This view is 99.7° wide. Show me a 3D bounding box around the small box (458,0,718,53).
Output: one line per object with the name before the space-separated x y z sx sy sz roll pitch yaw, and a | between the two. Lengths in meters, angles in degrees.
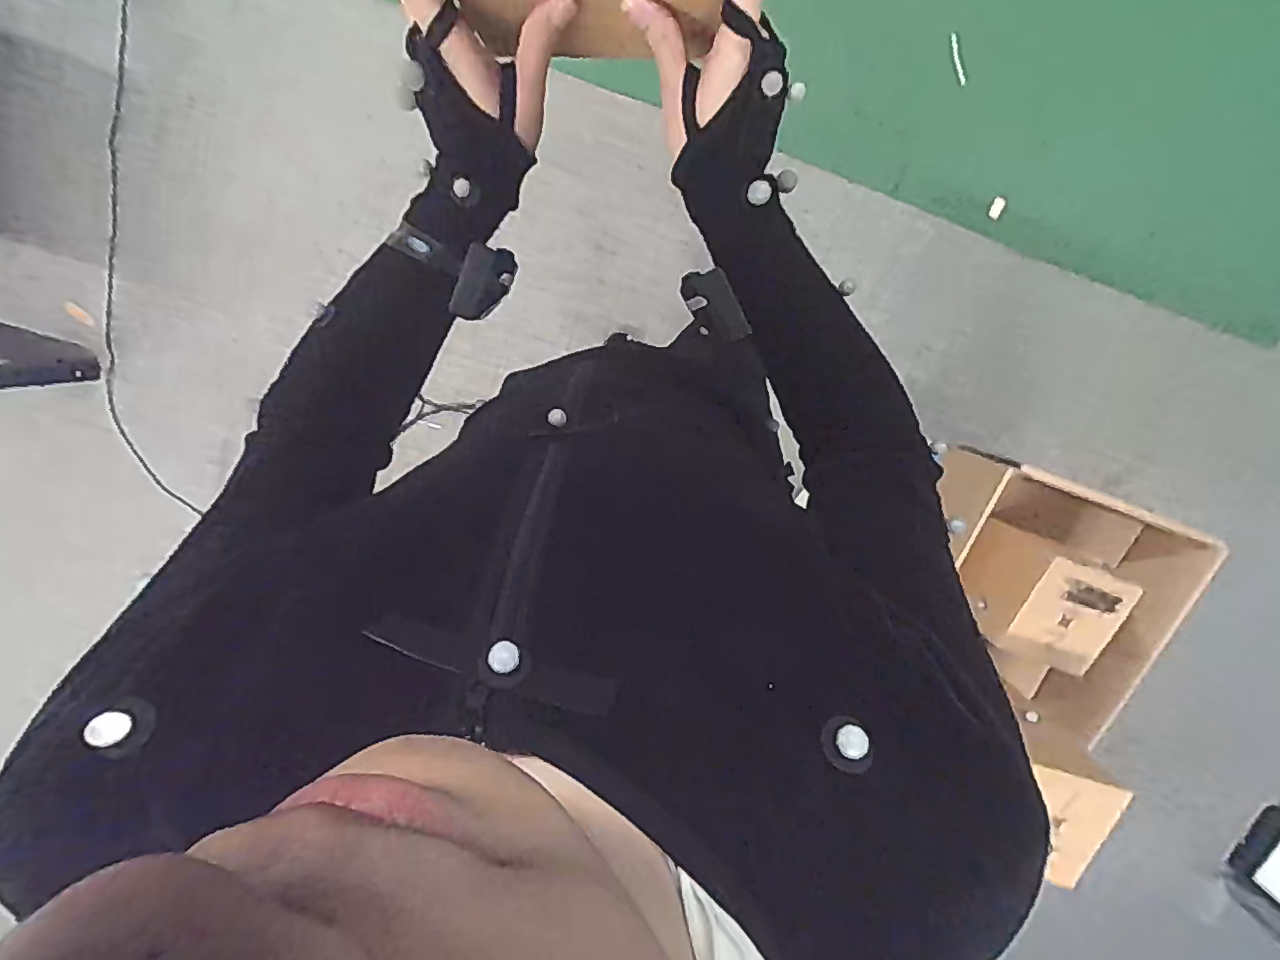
small box | -0.033 -0.371 0.297 0.179 0.176 0.168 1 104 1
